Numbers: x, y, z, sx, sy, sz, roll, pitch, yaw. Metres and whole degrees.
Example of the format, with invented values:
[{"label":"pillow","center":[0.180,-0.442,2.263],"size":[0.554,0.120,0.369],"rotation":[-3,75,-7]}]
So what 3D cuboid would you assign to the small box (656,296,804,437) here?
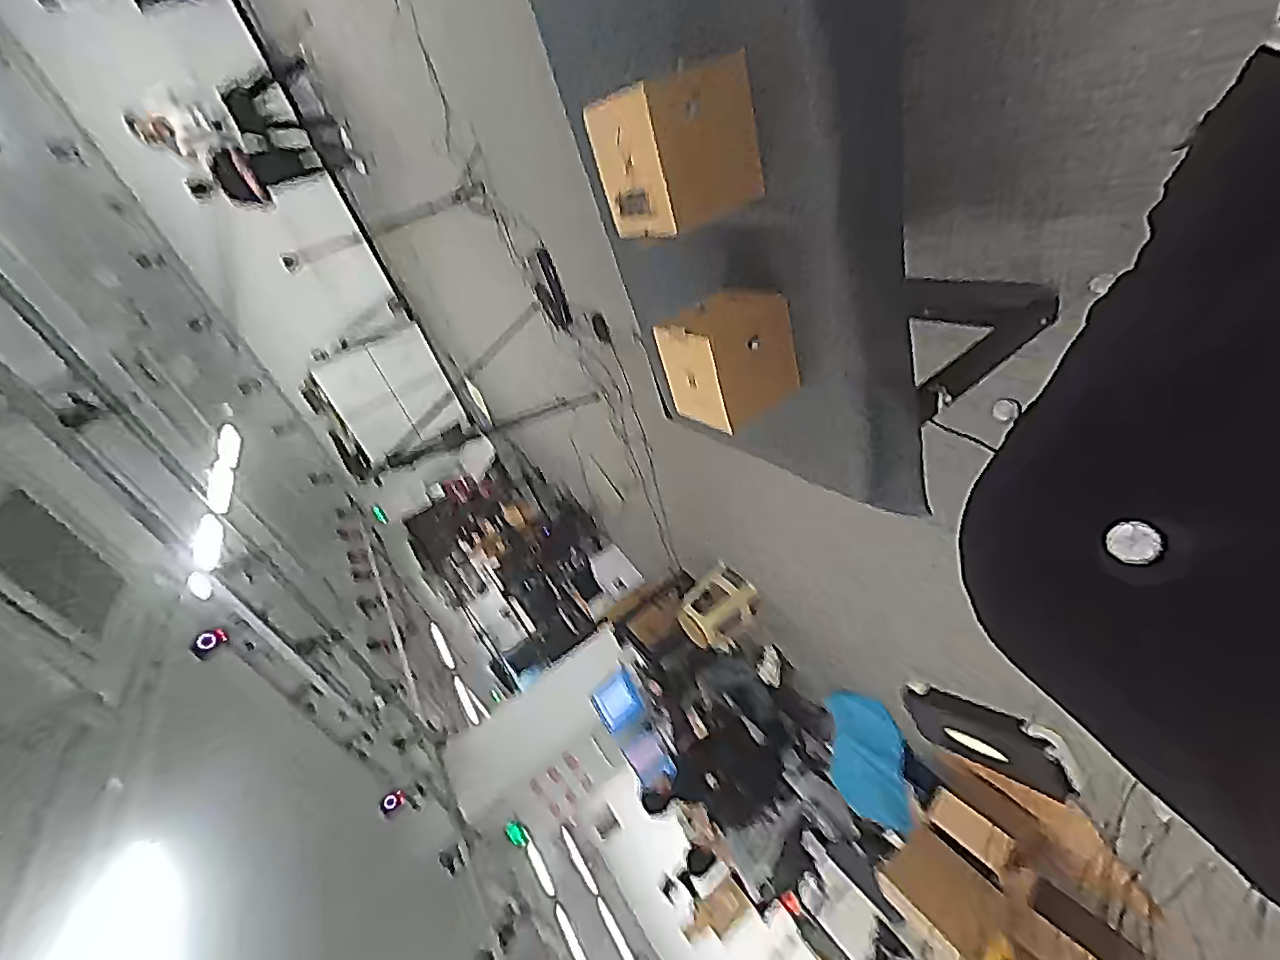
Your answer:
[{"label":"small box","center":[0.161,-0.207,0.948],"size":[0.168,0.176,0.179],"rotation":[32,150,53]}]
